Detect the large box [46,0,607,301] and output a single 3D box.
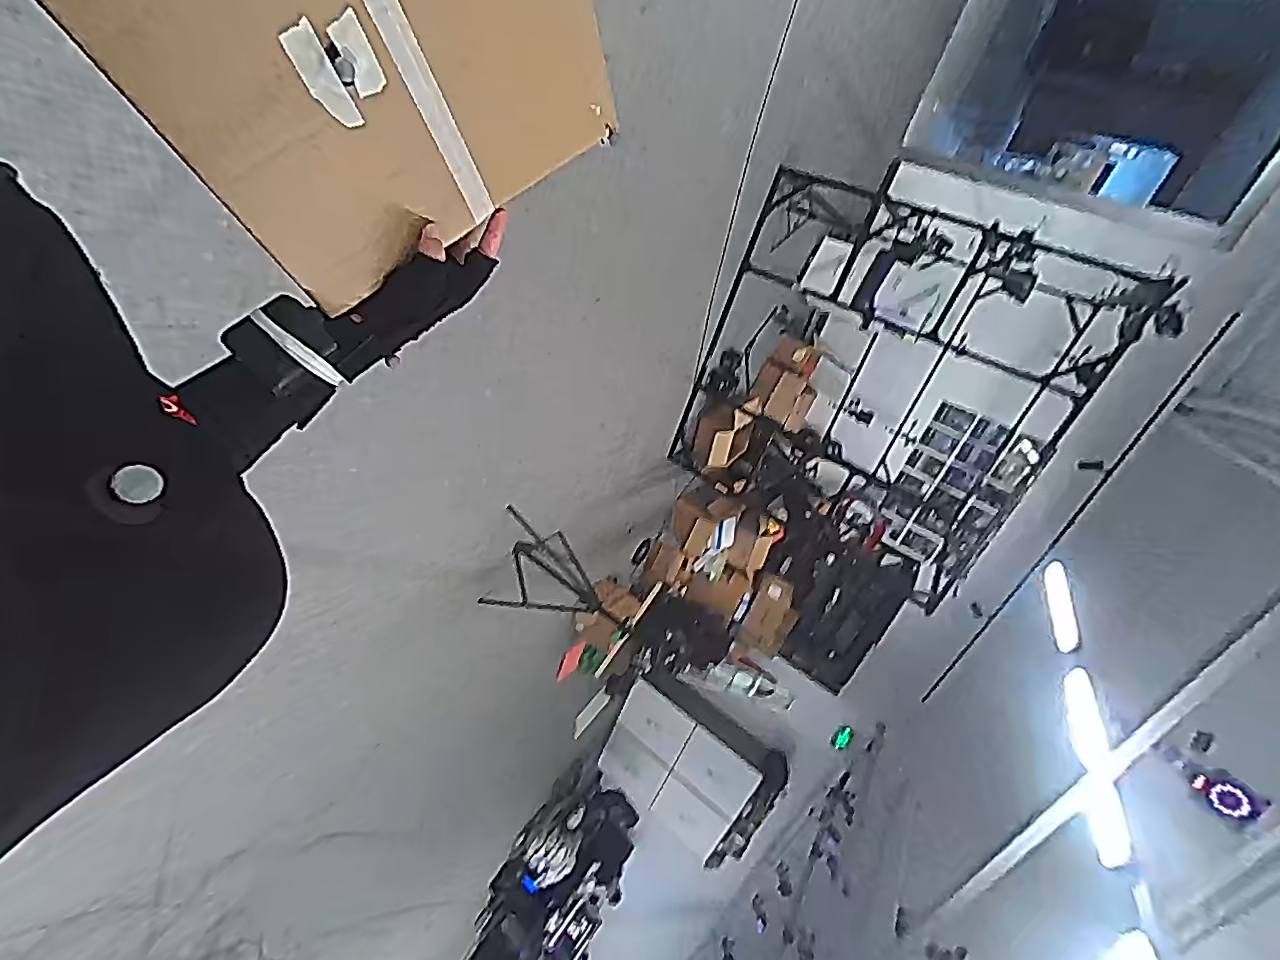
[{"bbox_3d":[-0.277,-0.427,0.383,0.320,0.320,0.408,-39,151,-10],"label":"large box"}]
